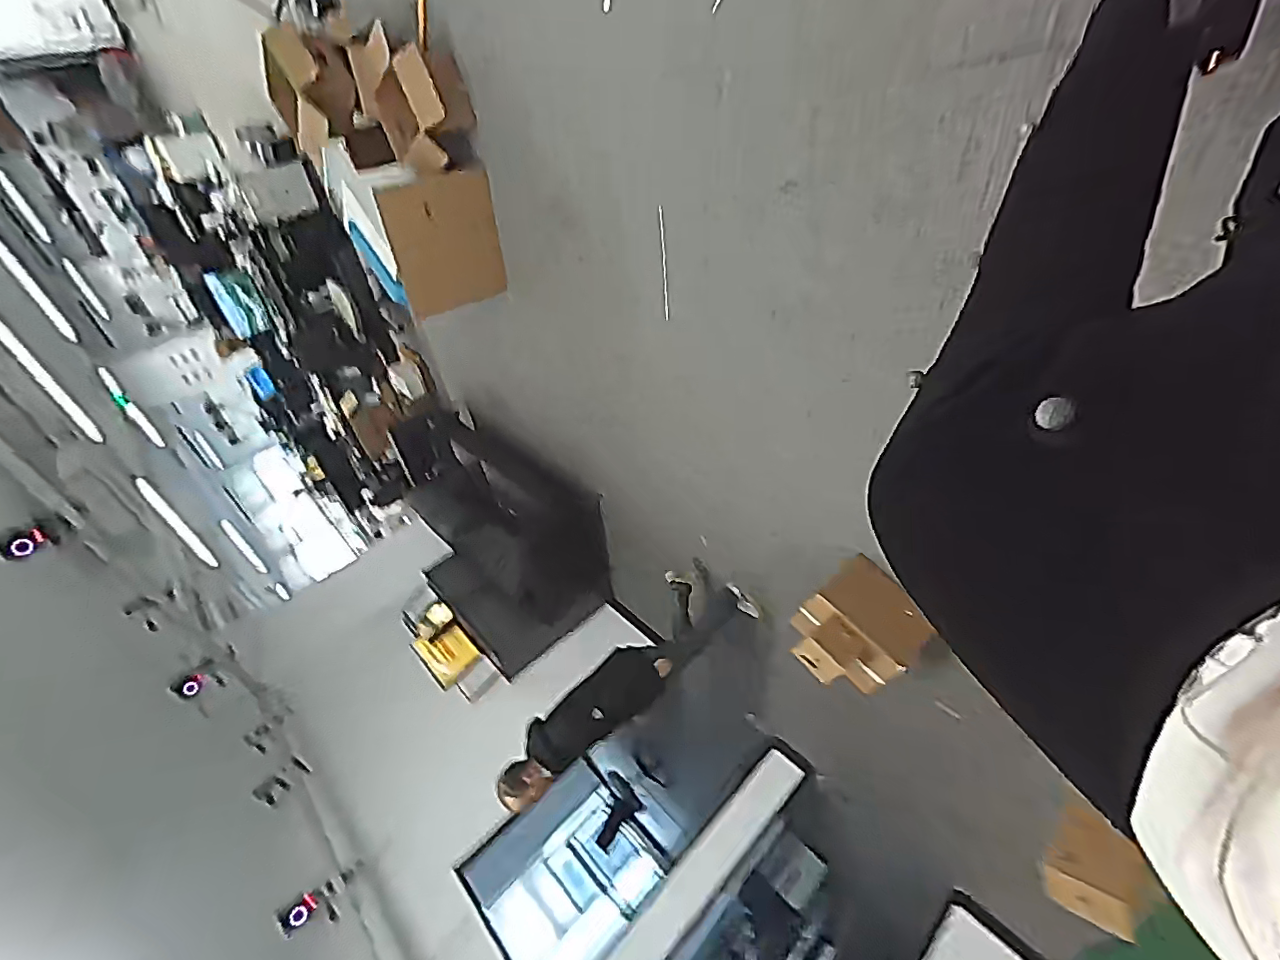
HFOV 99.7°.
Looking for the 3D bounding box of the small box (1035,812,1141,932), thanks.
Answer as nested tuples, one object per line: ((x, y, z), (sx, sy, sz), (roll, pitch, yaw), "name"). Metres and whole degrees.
((1.218, 1.050, 1.470), (0.179, 0.176, 0.168), (2, 121, 55), "small box")

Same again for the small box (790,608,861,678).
((0.730, 0.637, 2.117), (0.168, 0.176, 0.179), (45, 147, 18), "small box")
